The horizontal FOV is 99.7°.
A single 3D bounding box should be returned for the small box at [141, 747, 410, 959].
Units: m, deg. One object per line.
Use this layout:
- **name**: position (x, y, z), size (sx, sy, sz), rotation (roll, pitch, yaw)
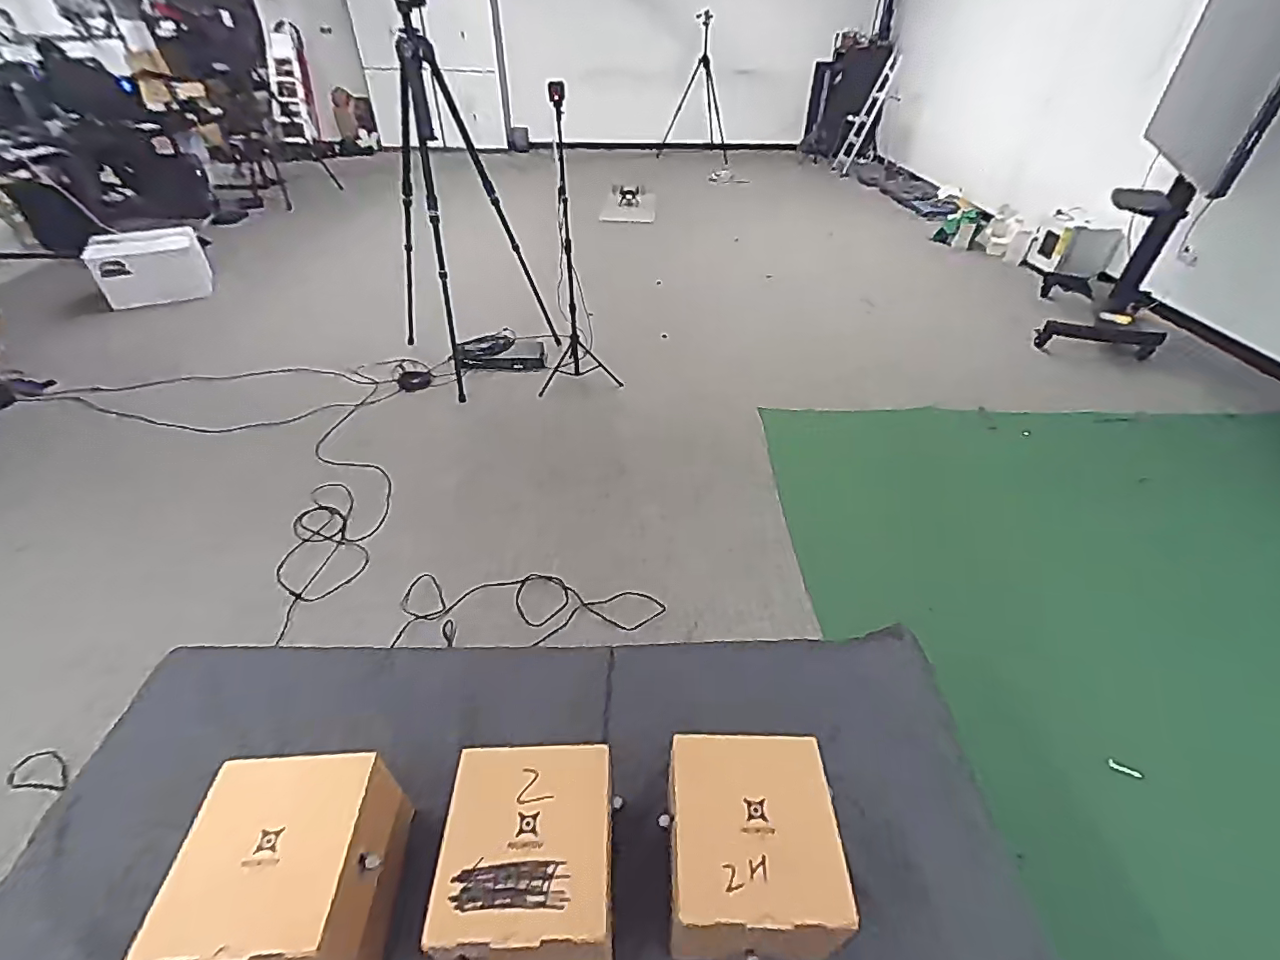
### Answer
- **small box**: position (-0.372, 0.423, 0.599), size (0.168, 0.176, 0.179), rotation (-2, 41, -3)
